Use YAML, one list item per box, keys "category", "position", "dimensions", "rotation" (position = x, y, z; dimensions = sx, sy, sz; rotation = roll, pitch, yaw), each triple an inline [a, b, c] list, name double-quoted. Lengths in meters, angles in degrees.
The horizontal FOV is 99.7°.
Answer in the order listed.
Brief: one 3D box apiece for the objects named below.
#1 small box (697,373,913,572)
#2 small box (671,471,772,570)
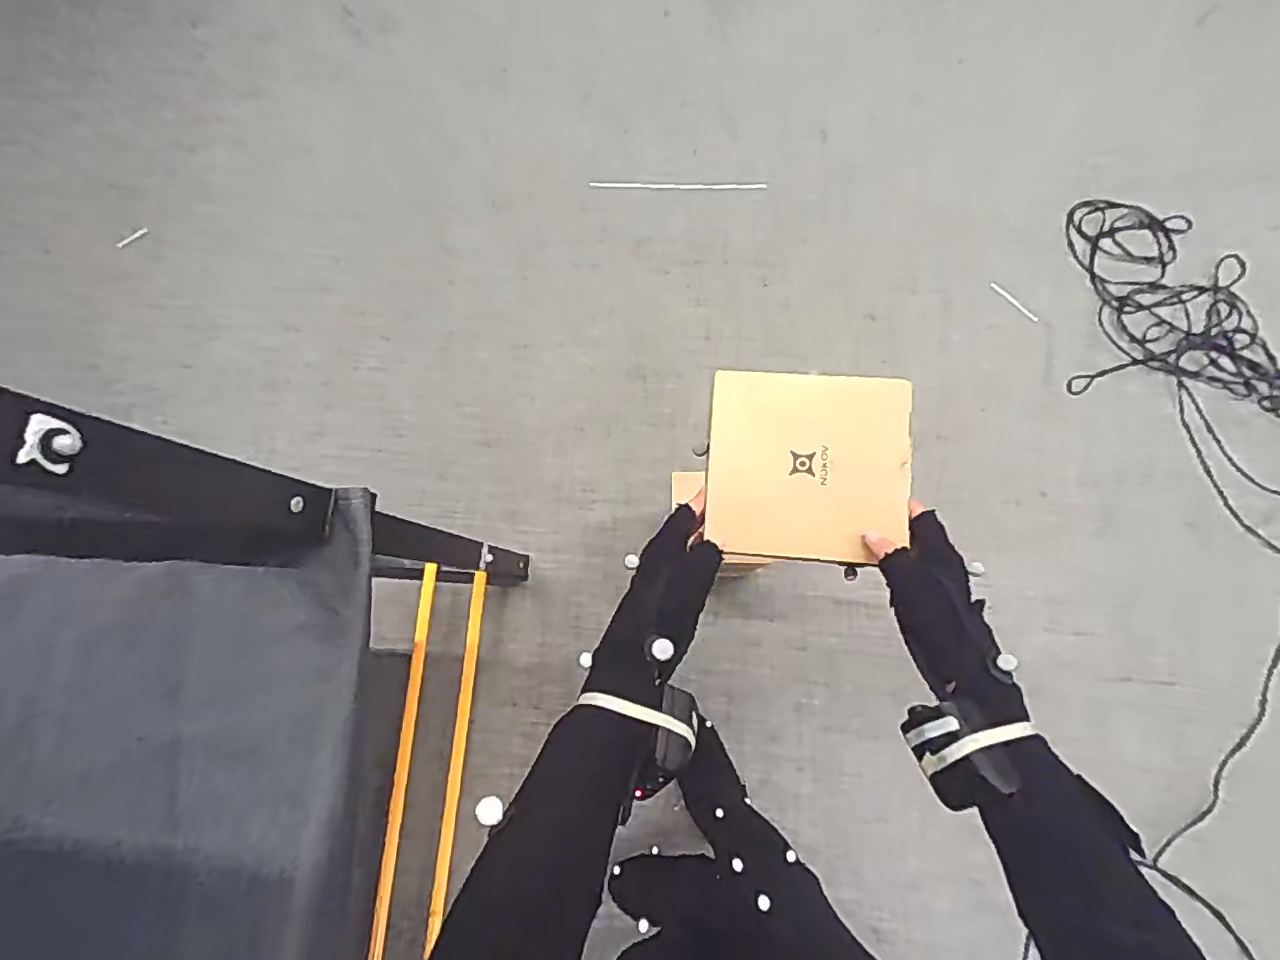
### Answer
- category: "small box"
  position: [0.151, 0.000, 0.544]
  dimensions: [0.179, 0.176, 0.168]
  rotation: [4, 84, 6]
- category: "small box"
  position: [0.149, 0.081, 1.026]
  dimensions: [0.179, 0.176, 0.168]
  rotation: [0, 78, 6]
